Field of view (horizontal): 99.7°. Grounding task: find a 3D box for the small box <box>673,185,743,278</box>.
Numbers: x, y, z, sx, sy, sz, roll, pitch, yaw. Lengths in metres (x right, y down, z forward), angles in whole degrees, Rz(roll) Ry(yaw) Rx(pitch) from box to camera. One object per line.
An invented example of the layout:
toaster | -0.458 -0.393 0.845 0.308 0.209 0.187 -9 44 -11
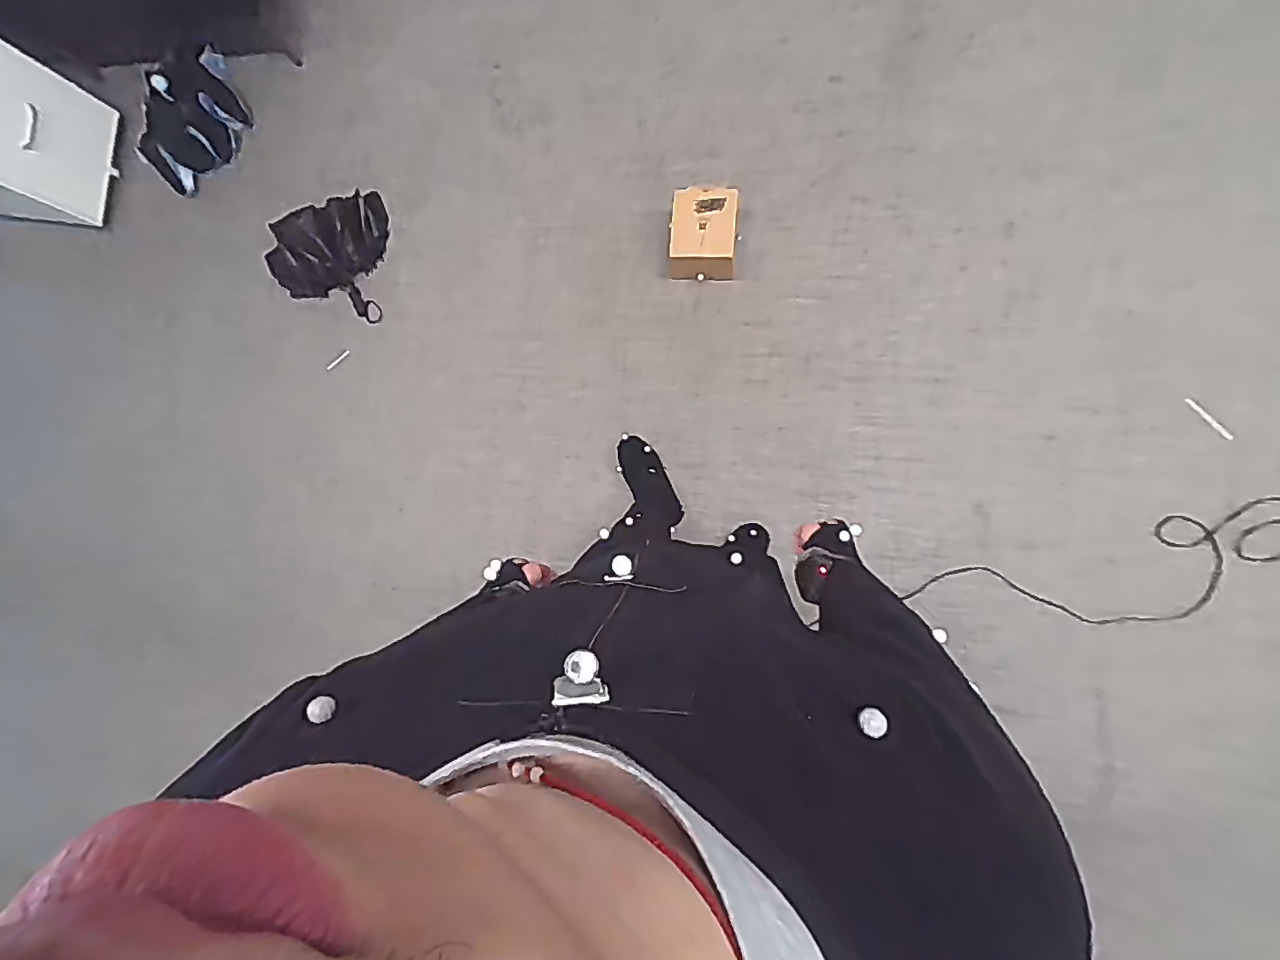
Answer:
small box | 0.186 -0.663 1.455 0.168 0.176 0.179 6 91 11
